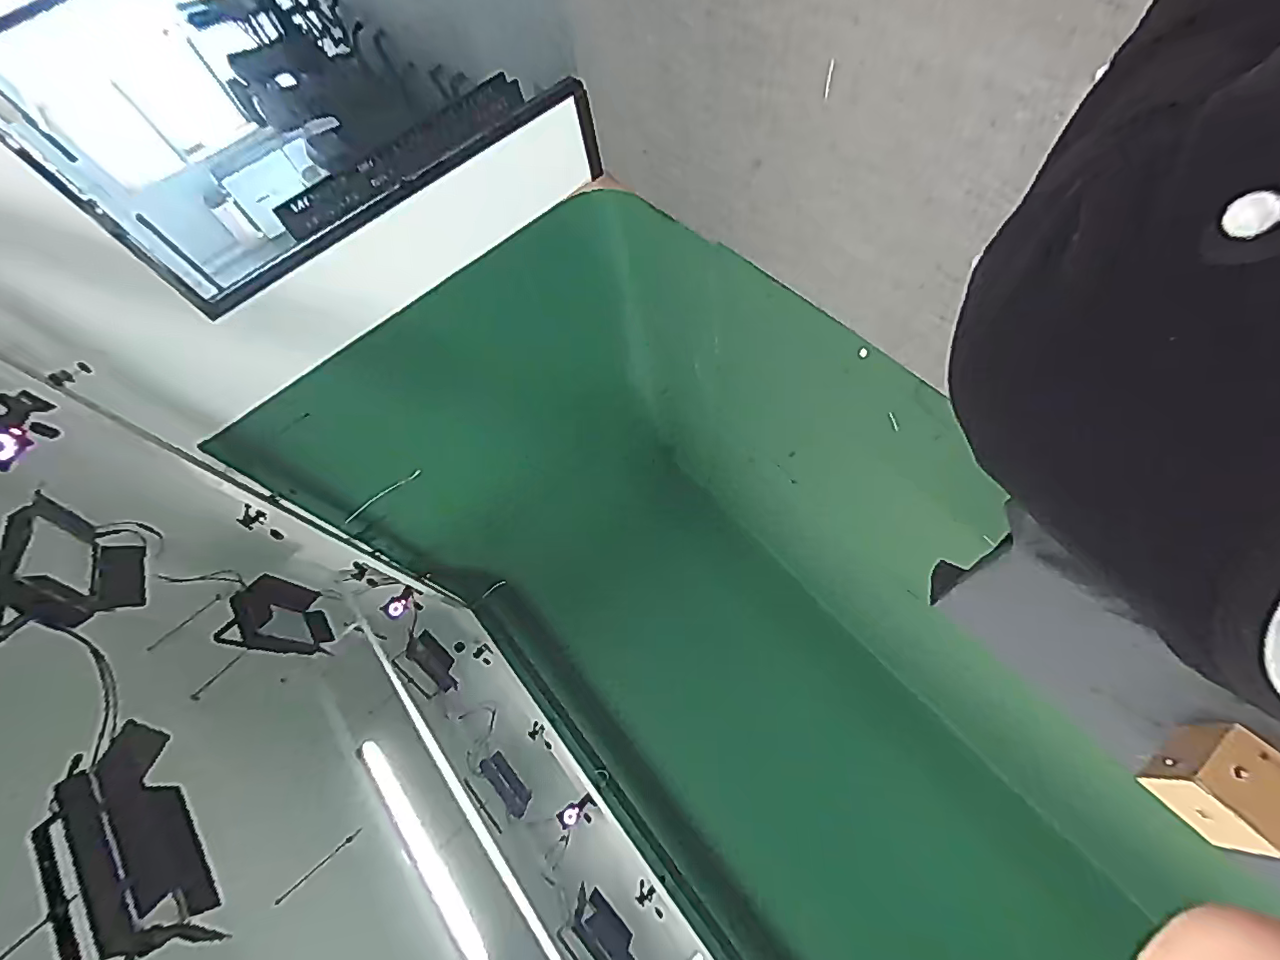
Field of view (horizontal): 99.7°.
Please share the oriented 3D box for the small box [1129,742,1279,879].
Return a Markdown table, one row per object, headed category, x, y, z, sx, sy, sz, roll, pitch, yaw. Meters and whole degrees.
| category | x | y | z | sx | sy | sz | roll | pitch | yaw |
| --- | --- | --- | --- | --- | --- | --- | --- | --- | --- |
| small box | 1.177 | 0.657 | 1.099 | 0.168 | 0.176 | 0.179 | 47 | 169 | 26 |
